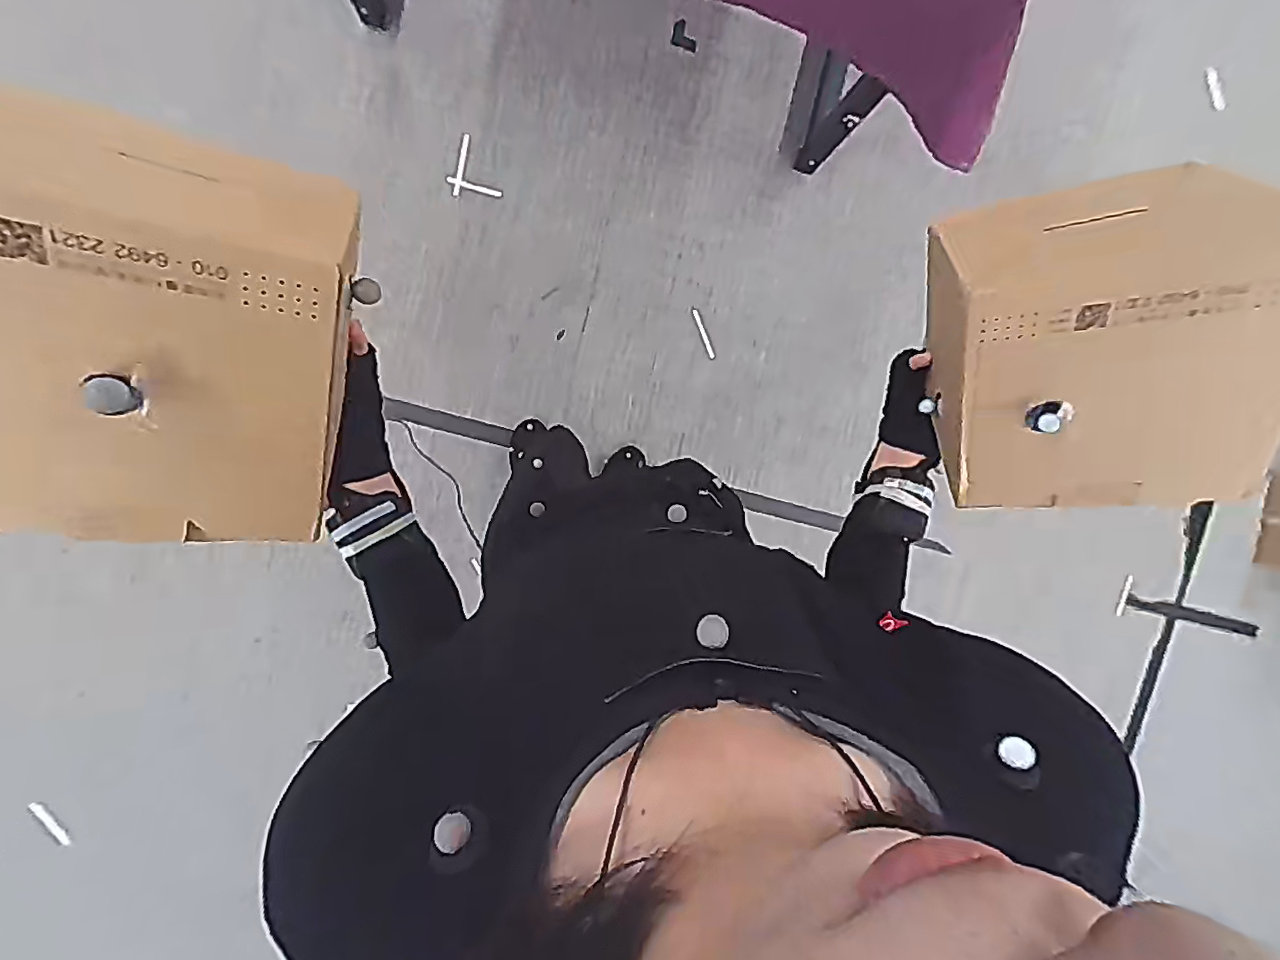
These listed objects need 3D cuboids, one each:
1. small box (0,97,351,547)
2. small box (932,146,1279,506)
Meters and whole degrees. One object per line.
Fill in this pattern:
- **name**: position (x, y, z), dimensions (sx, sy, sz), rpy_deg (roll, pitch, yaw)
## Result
- **small box**: position (-0.257, -0.083, 0.291), dimensions (0.168, 0.179, 0.176), rpy_deg (6, 122, -27)
- **small box**: position (0.304, -0.103, 0.370), dimensions (0.168, 0.179, 0.176), rpy_deg (-3, 127, 22)
